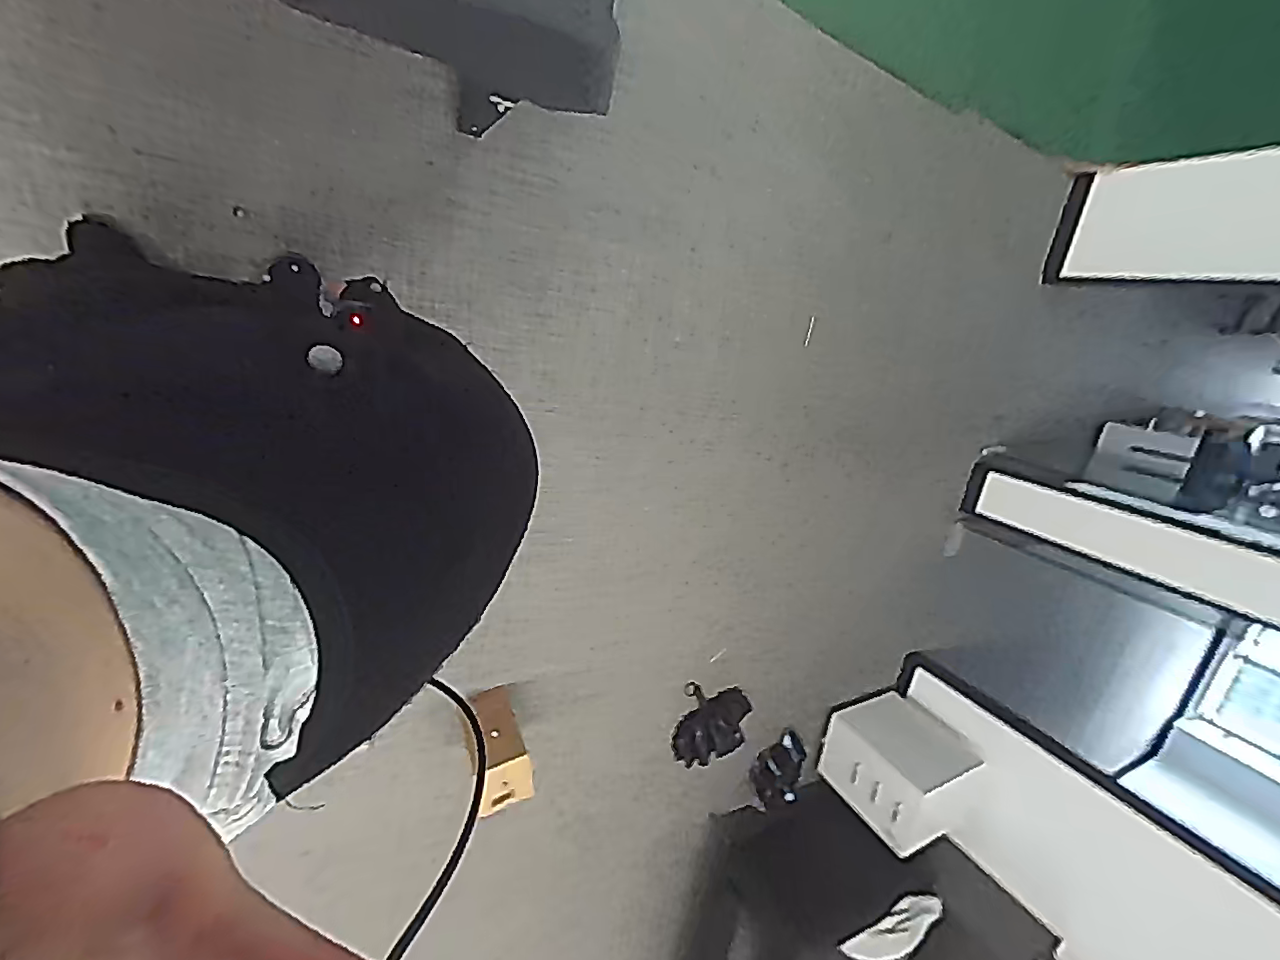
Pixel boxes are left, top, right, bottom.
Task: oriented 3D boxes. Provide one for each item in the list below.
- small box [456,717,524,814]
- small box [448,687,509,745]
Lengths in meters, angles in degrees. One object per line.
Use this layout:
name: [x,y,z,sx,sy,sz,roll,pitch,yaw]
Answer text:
small box: [-0.469,0.884,1.686,0.168,0.176,0.179,-12,114,-25]
small box: [-0.540,0.830,1.825,0.168,0.176,0.179,-12,117,-25]
